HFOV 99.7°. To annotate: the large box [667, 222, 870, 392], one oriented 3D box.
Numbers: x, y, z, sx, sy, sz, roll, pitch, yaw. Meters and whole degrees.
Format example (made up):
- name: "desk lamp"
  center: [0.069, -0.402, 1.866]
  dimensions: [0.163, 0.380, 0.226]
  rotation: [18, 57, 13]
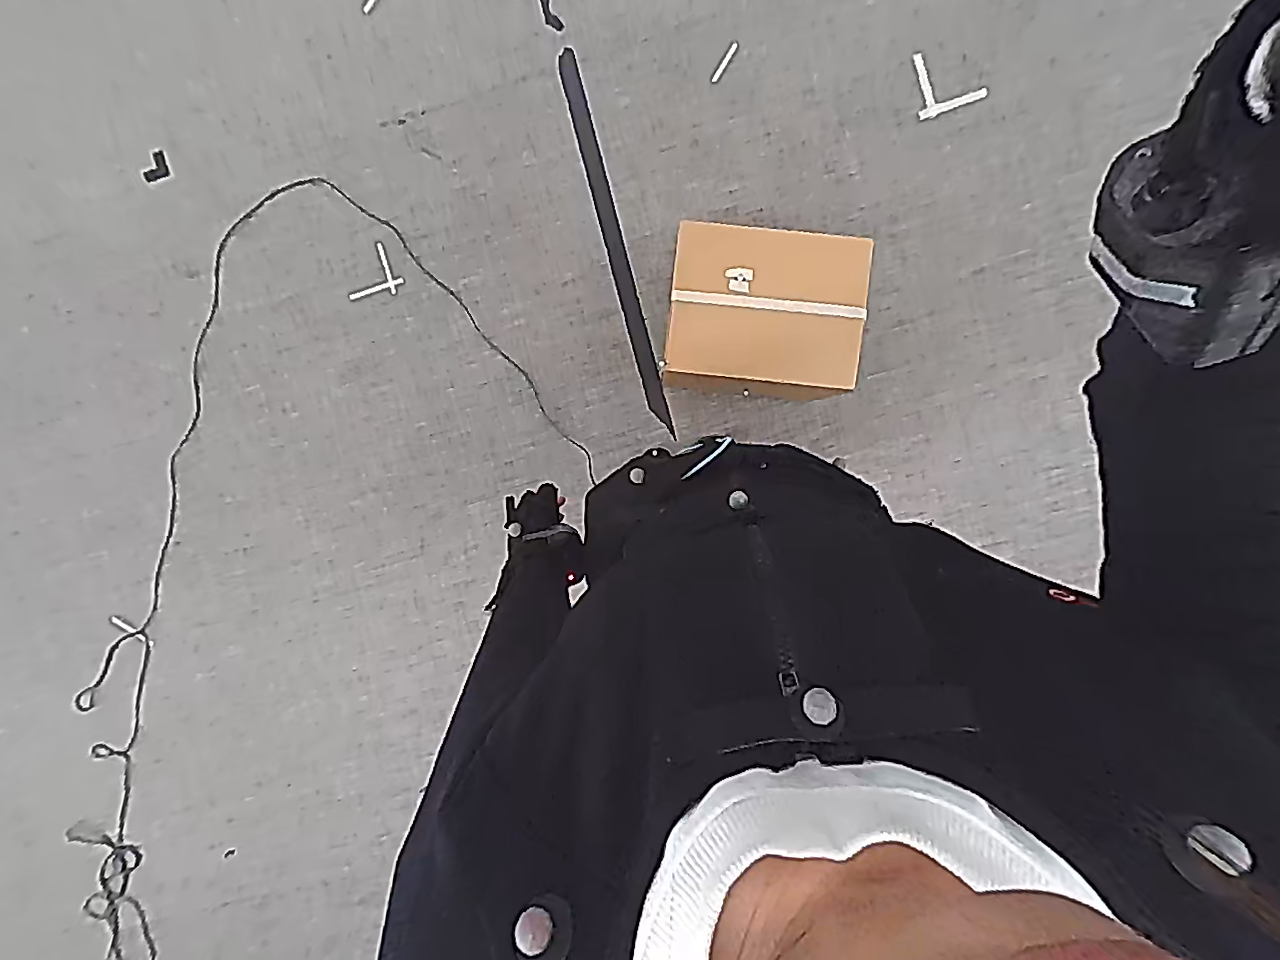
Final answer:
- name: "large box"
  center: [0.279, -0.386, 1.288]
  dimensions: [0.408, 0.320, 0.320]
  rotation: [6, 93, 3]
